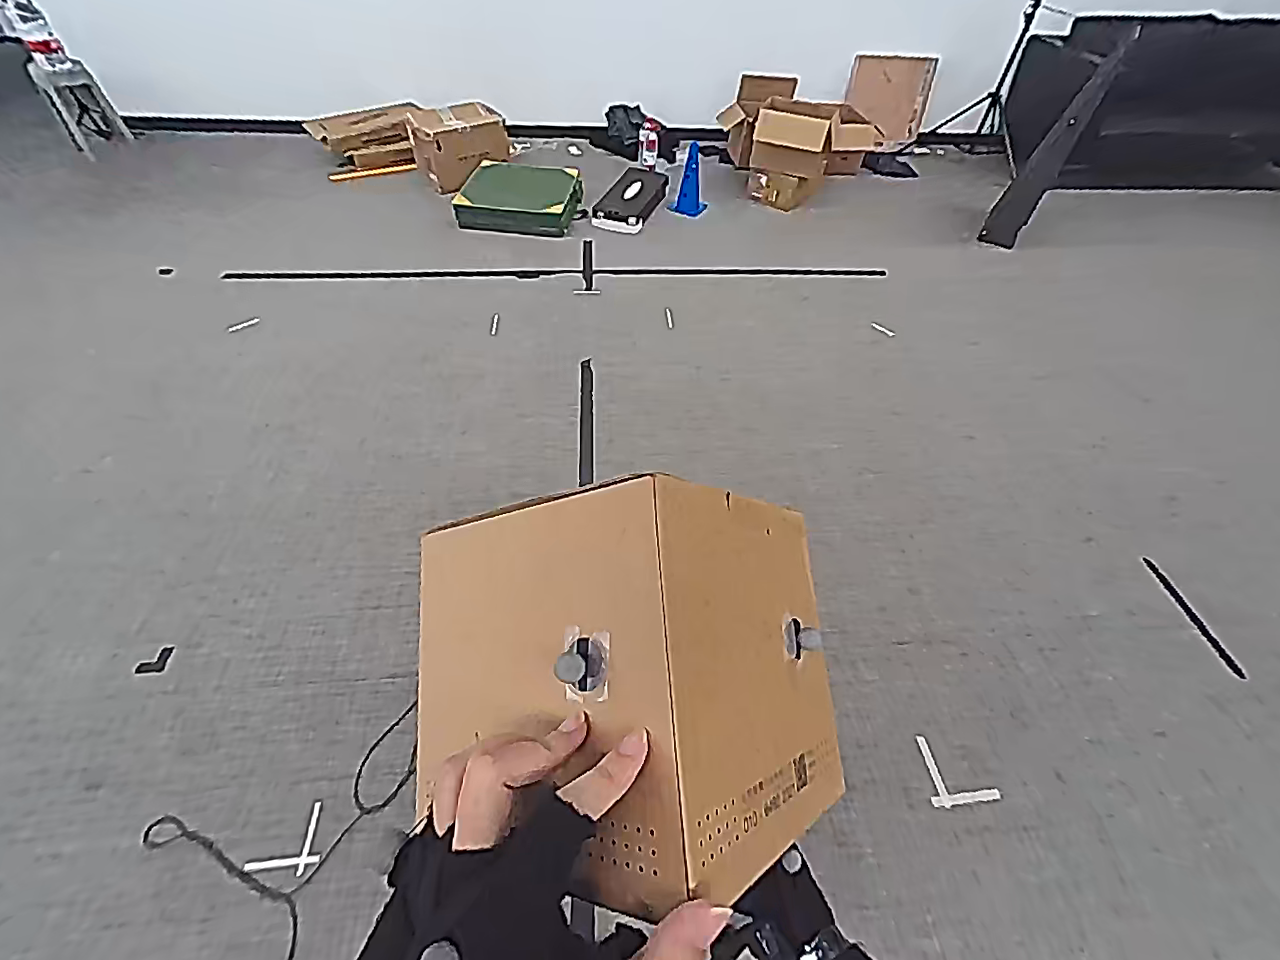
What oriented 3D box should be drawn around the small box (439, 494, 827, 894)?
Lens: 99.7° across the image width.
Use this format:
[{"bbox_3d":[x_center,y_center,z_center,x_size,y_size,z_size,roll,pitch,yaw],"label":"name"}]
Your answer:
[{"bbox_3d":[-0.003,0.114,0.332,0.179,0.168,0.176,-15,72,36],"label":"small box"}]
